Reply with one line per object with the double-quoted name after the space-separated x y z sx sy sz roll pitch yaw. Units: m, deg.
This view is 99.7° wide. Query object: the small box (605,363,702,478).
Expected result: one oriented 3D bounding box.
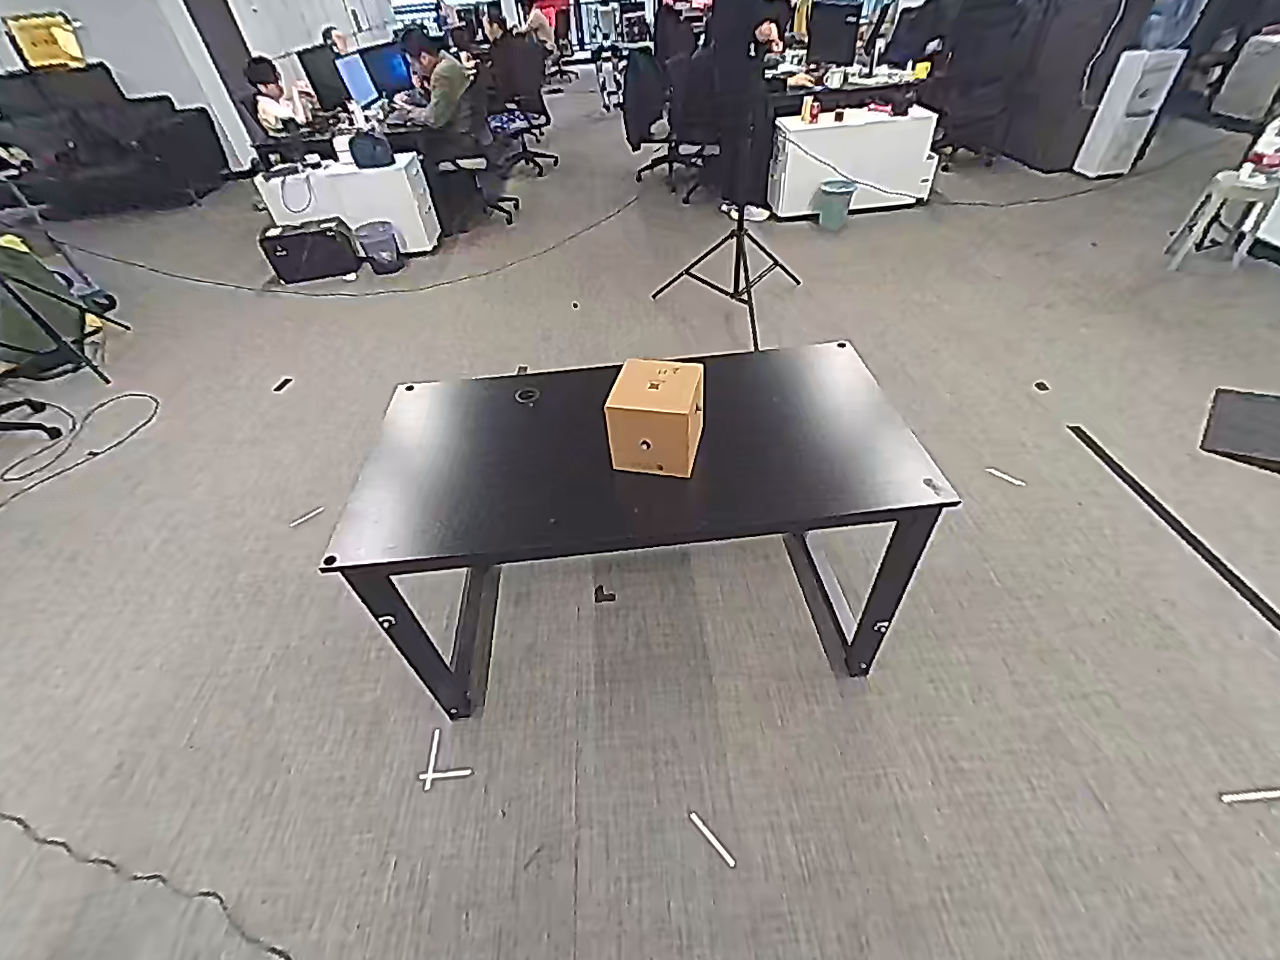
0.037 -0.125 1.141 0.168 0.176 0.179 8 46 13 "small box"
